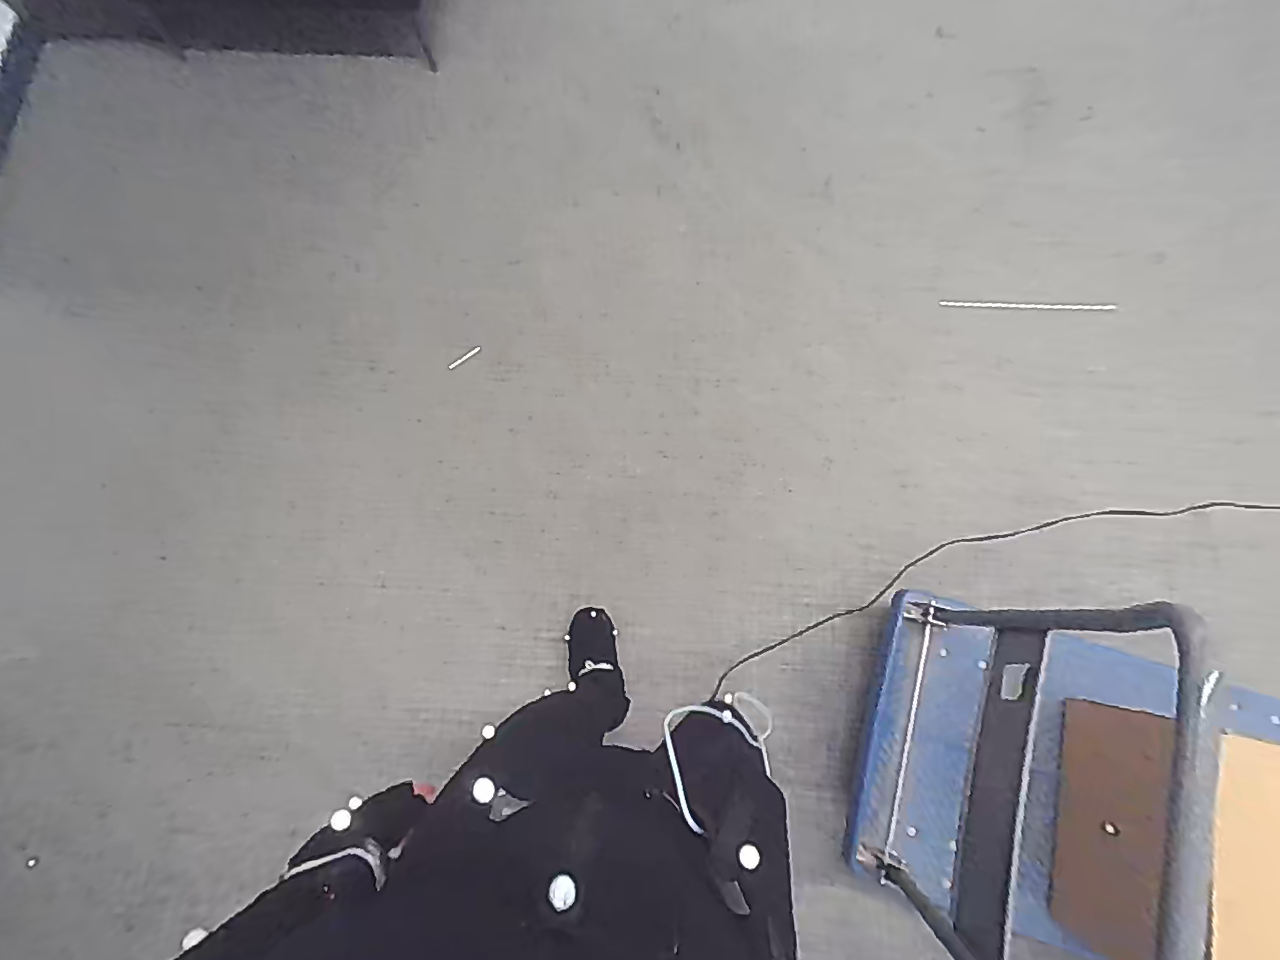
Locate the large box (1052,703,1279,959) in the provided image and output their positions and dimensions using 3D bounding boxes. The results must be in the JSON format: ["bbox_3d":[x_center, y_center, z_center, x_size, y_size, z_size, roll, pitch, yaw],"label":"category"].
[{"bbox_3d":[0.959,0.638,0.907,0.320,0.320,0.408,13,76,3],"label":"large box"}]
